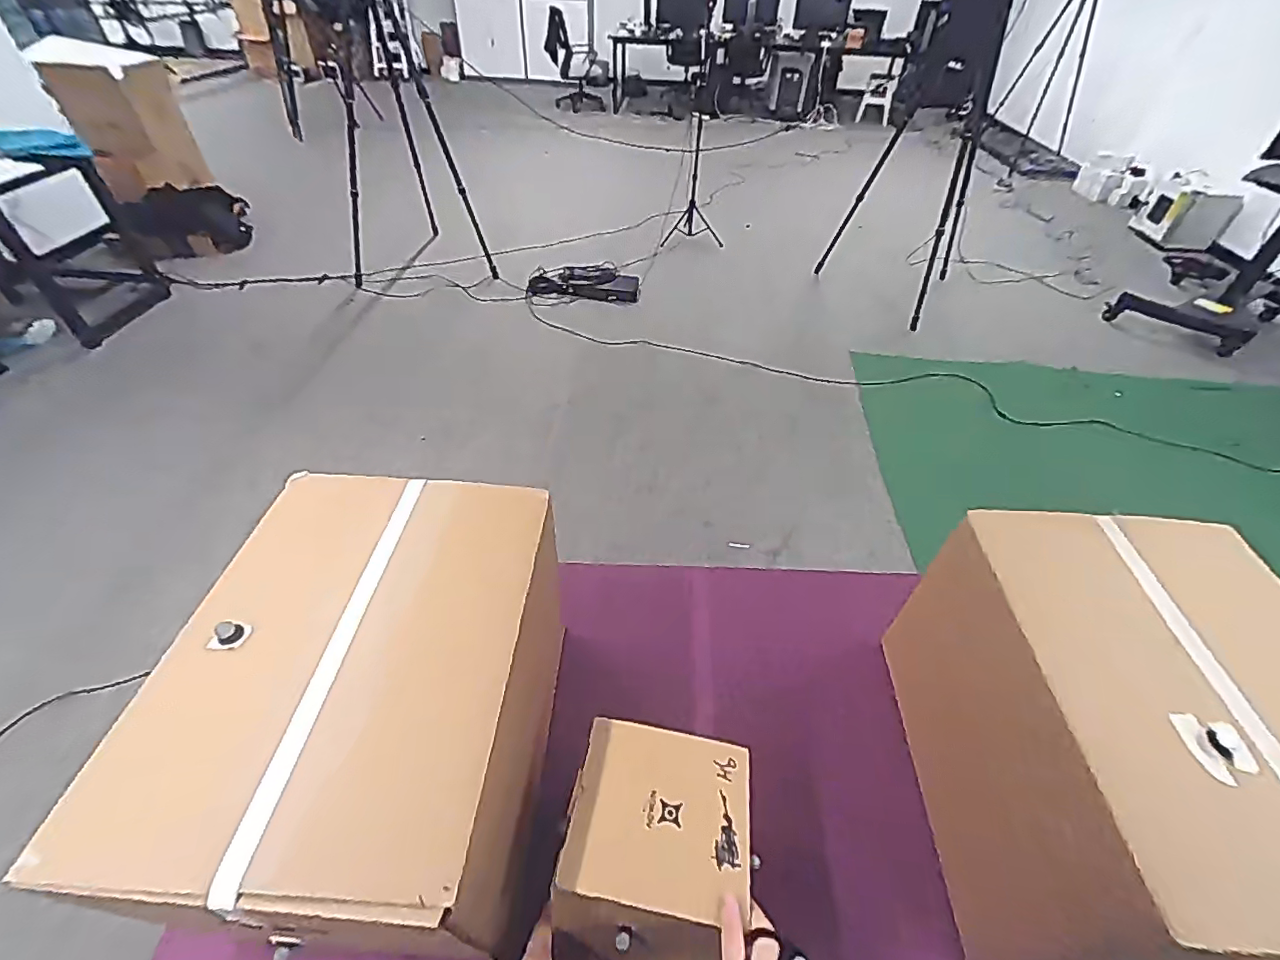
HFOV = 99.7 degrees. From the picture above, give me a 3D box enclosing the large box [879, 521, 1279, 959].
[{"bbox_3d":[0.525,0.306,0.621,0.320,0.320,0.408,5,45,2],"label":"large box"}]
